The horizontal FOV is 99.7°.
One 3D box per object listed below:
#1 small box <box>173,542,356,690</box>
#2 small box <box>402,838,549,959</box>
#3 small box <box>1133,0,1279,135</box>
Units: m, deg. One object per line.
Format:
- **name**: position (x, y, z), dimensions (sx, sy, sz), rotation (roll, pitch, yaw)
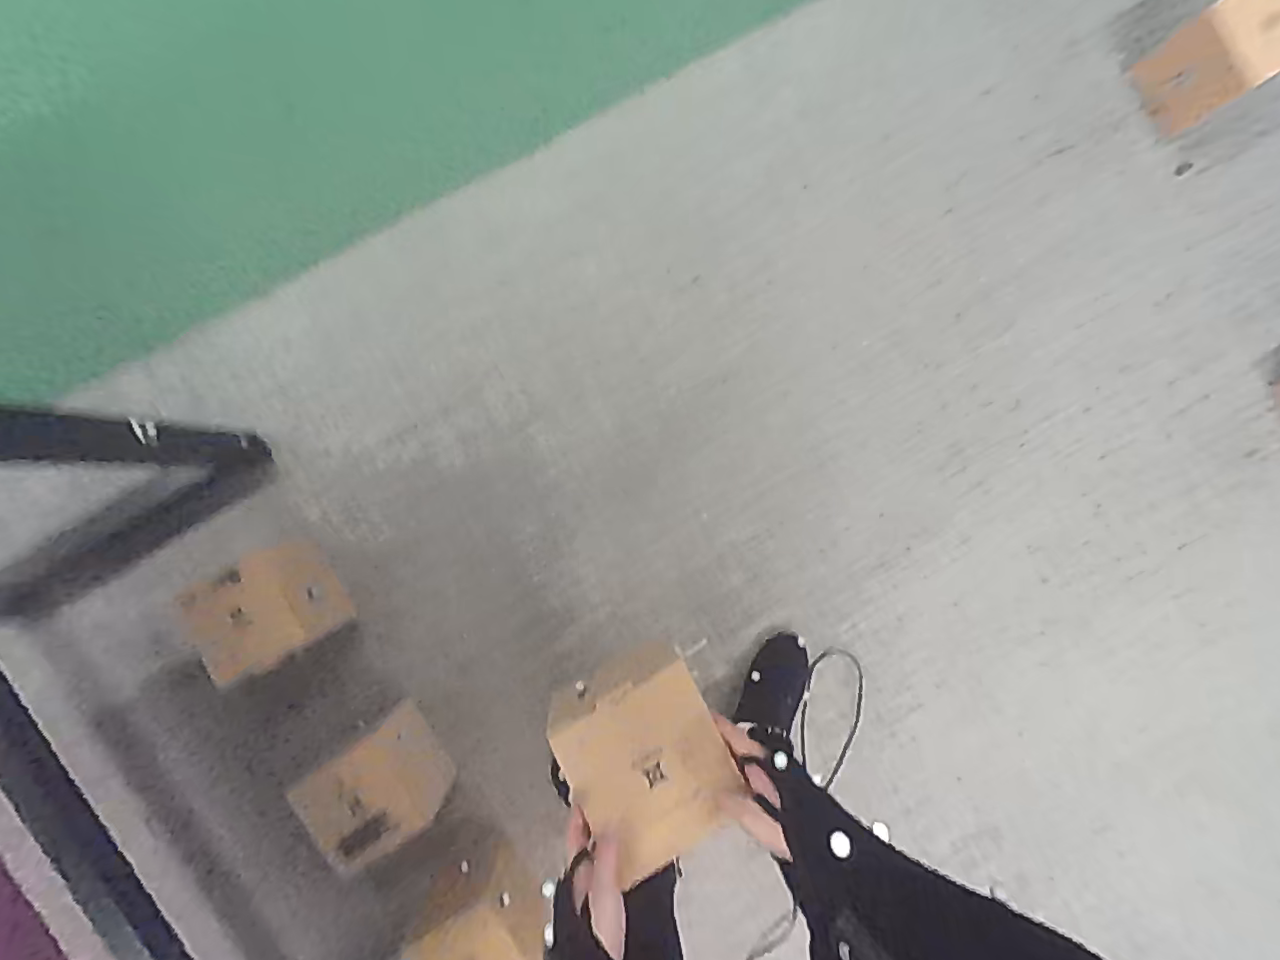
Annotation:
- **small box**: position (-0.640, 0.225, 0.948), dimensions (0.168, 0.176, 0.179), rotation (-28, 91, -2)
- **small box**: position (-0.279, 0.798, 0.964), dimensions (0.168, 0.176, 0.179), rotation (-31, 91, -2)
- **small box**: position (1.098, -0.807, 1.024), dimensions (0.179, 0.176, 0.168), rotation (-31, 92, -2)
